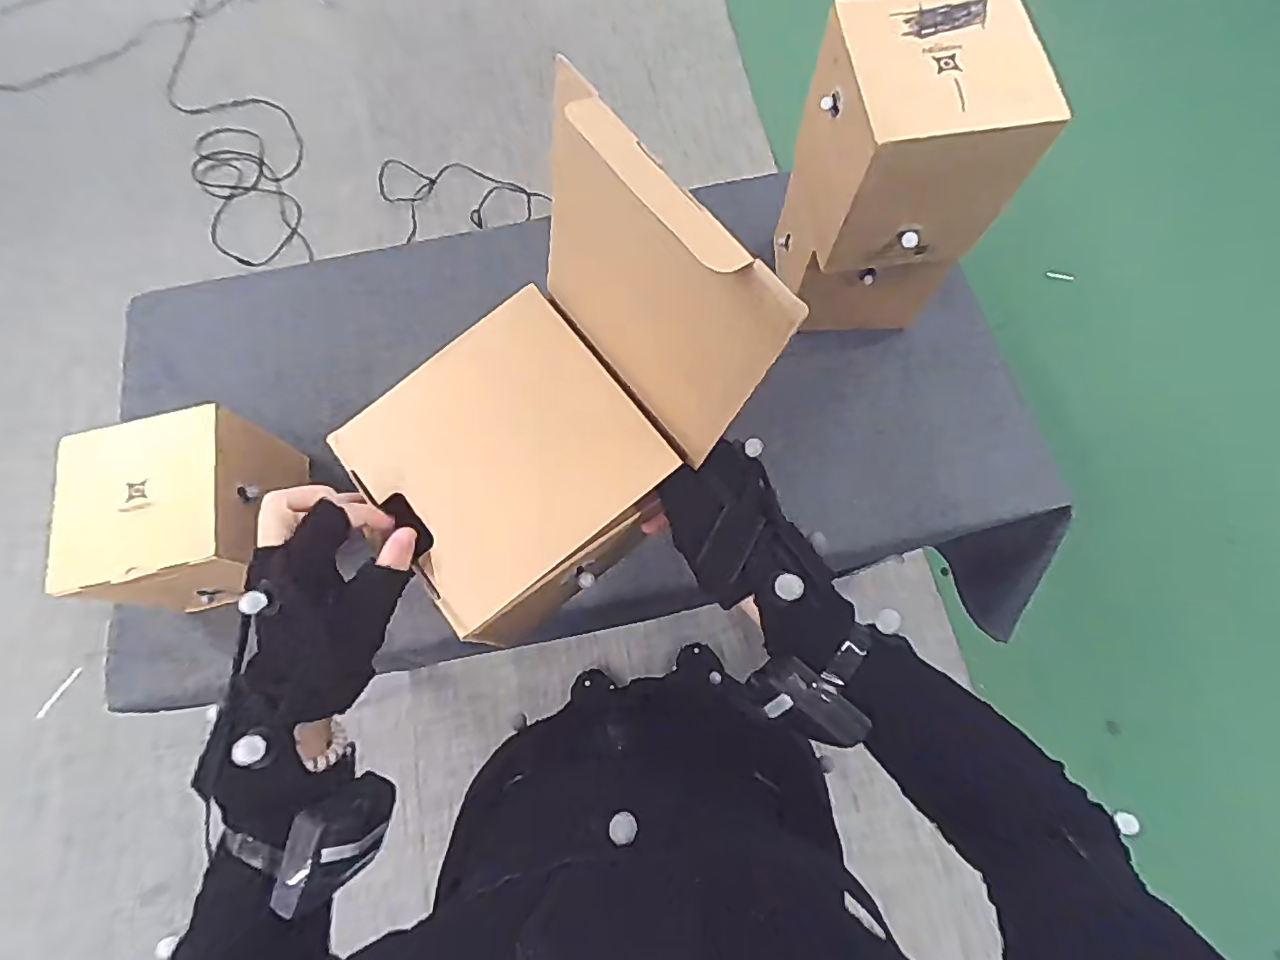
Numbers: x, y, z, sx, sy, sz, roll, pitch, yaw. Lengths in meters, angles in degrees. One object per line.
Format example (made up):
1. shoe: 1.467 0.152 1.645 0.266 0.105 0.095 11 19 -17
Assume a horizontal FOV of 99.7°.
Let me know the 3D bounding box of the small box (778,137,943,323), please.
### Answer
1. small box: 0.283 -0.321 0.709 0.179 0.176 0.168 -1 73 2

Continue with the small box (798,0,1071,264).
1. small box: 0.270 -0.351 0.548 0.168 0.176 0.179 -7 74 1

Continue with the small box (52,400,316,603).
1. small box: -0.509 0.034 0.630 0.168 0.176 0.179 -14 73 -3
